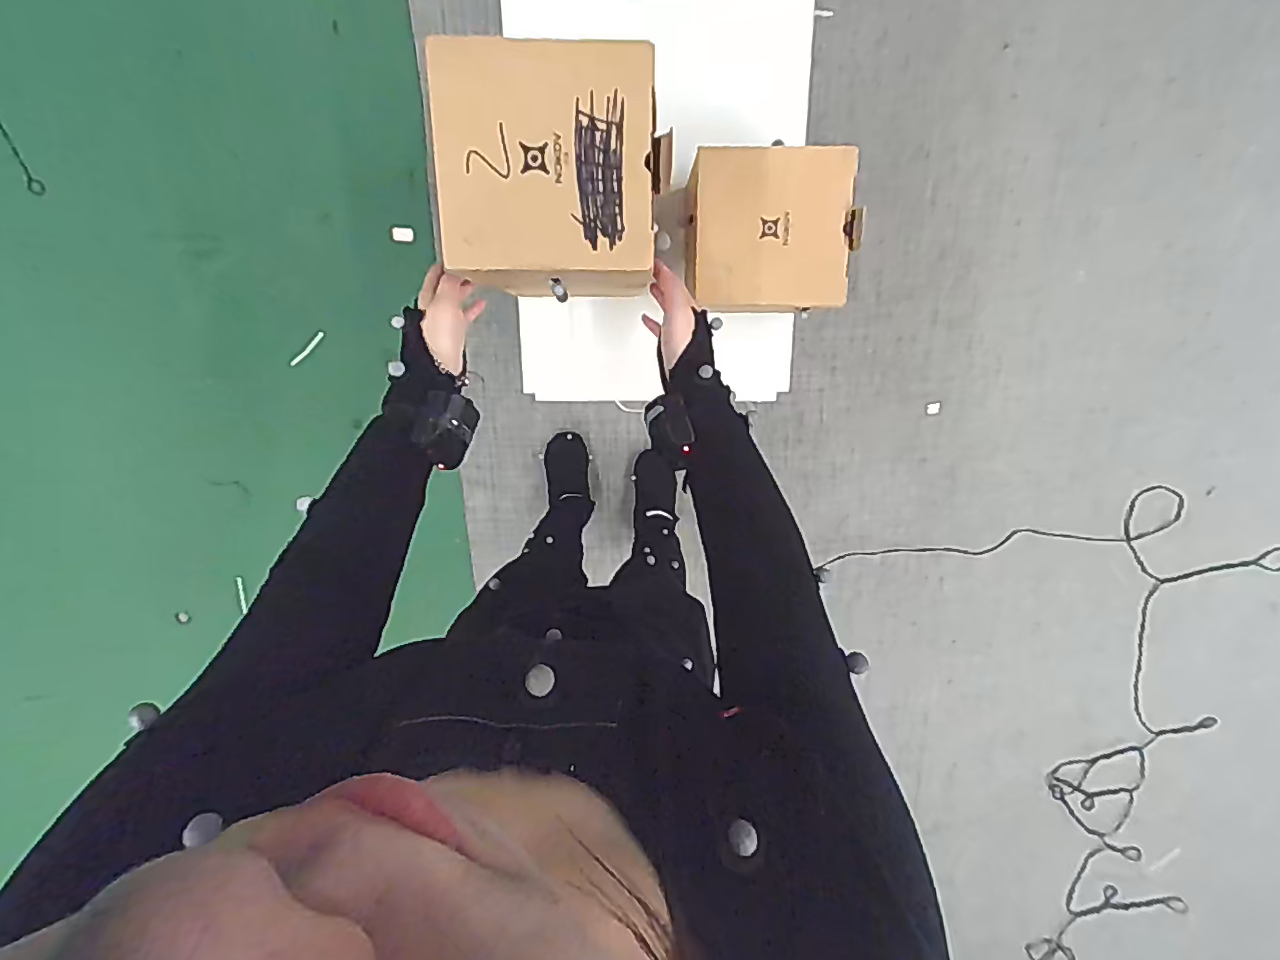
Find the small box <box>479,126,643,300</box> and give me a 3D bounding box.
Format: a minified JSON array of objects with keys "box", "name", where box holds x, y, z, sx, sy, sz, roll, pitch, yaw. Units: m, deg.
[{"box":[-0.086,-0.313,0.667,0.179,0.176,0.168,-1,105,-2],"name":"small box"}]
